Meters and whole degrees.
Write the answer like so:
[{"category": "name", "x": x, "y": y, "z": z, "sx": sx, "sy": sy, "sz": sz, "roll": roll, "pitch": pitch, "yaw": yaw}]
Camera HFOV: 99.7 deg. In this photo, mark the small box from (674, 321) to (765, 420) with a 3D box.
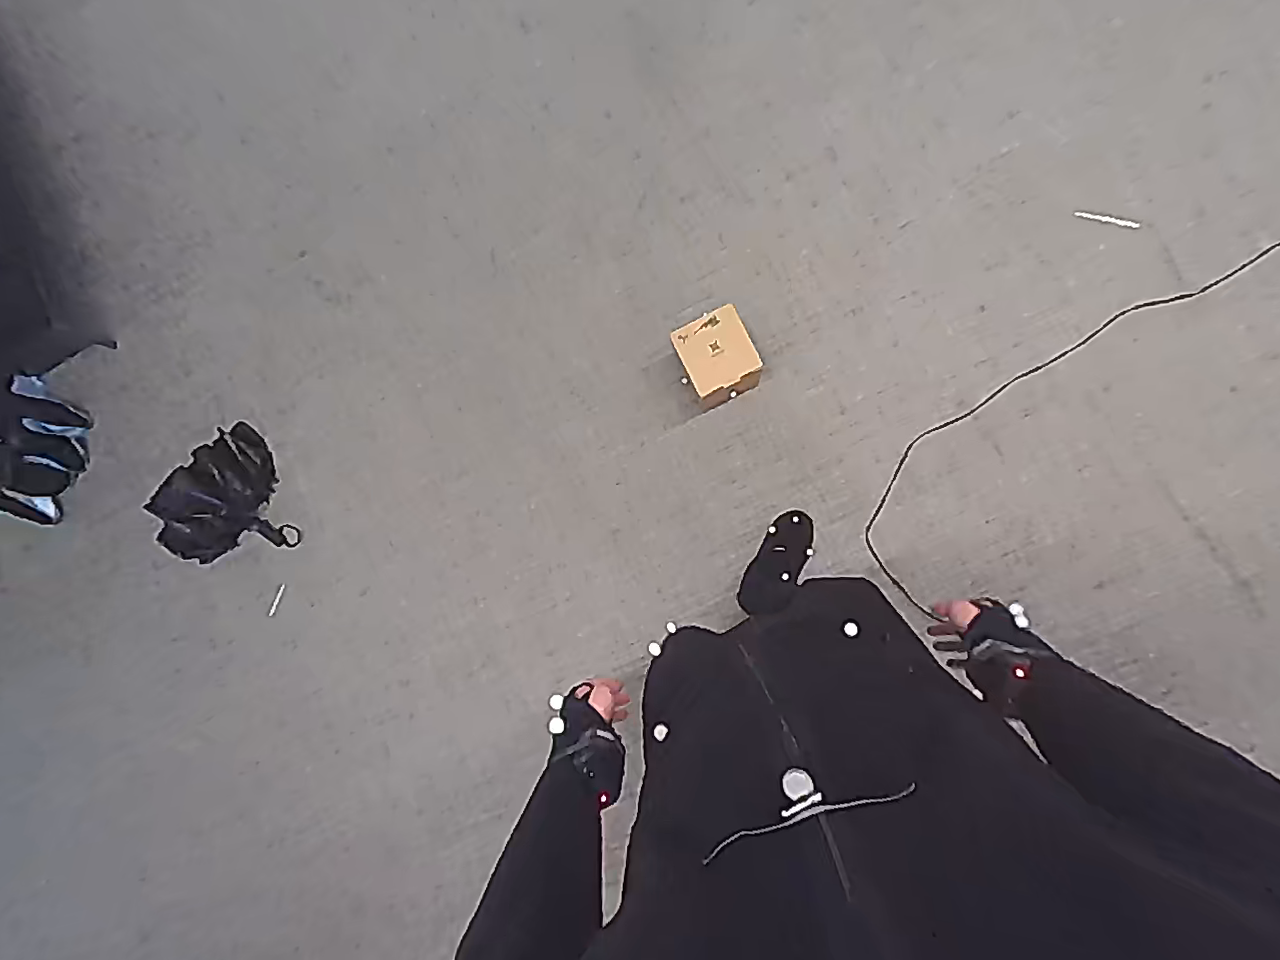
[{"category": "small box", "x": 0.202, "y": -0.264, "z": 1.365, "sx": 0.168, "sy": 0.176, "sz": 0.179, "roll": -26, "pitch": 82, "yaw": 6}]
